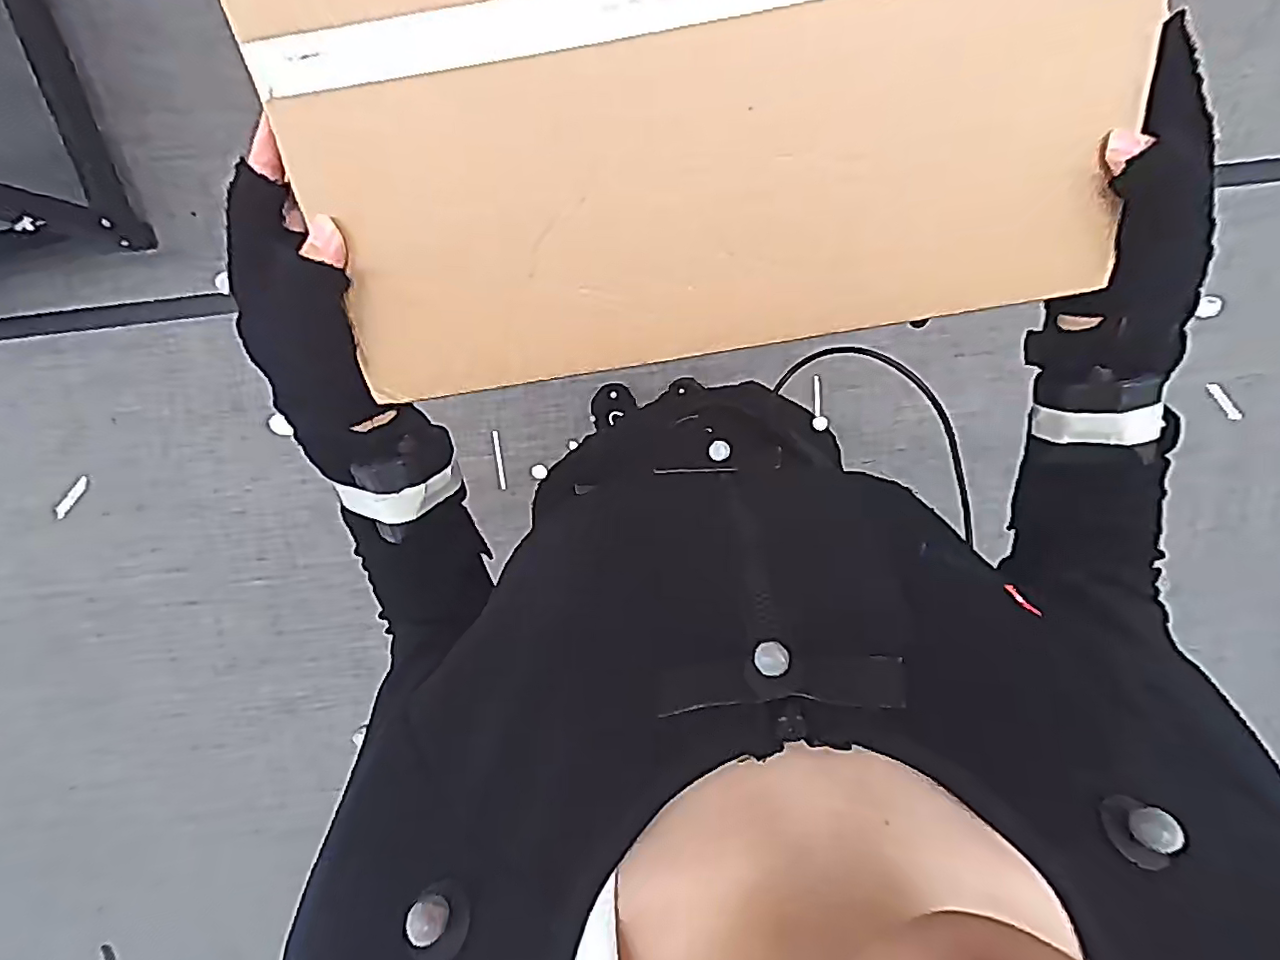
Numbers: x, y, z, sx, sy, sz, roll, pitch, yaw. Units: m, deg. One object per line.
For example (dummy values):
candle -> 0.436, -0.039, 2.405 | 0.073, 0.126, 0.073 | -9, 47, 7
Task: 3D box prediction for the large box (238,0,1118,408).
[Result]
large box -> 0.019, -0.274, 0.382 | 0.408, 0.320, 0.320 | -9, 114, 2
